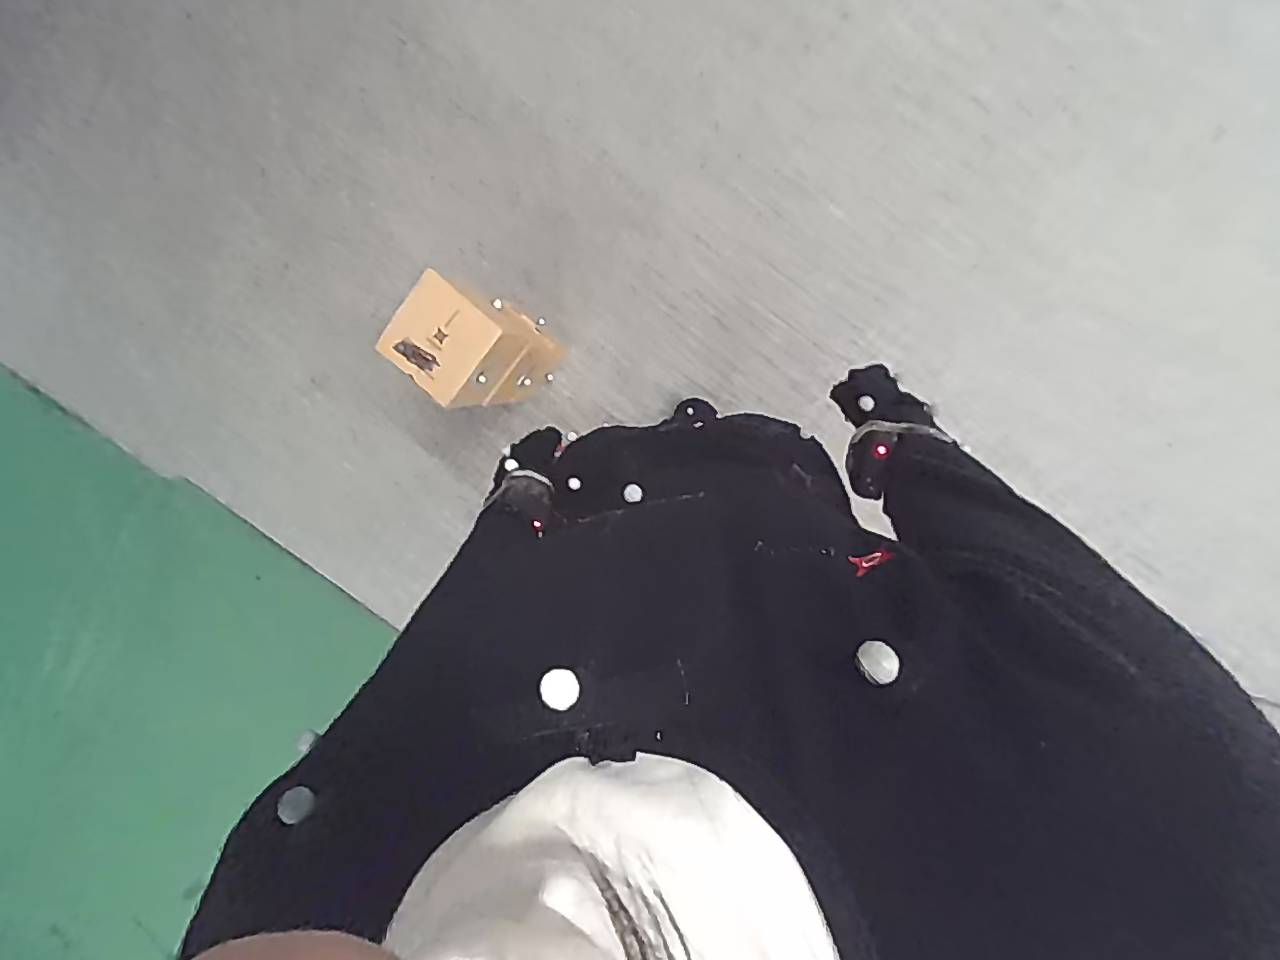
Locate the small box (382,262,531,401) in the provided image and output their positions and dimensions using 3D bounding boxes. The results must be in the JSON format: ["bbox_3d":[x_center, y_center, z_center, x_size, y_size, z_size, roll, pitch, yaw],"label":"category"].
[{"bbox_3d":[-0.330,-0.269,1.010,0.168,0.176,0.179,41,103,-3],"label":"small box"}]

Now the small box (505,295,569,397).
[{"bbox_3d":[-0.292,-0.325,1.330,0.168,0.176,0.179,42,102,-2],"label":"small box"}]

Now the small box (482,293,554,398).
[{"bbox_3d":[-0.315,-0.296,1.172,0.179,0.176,0.168,40,104,-3],"label":"small box"}]
